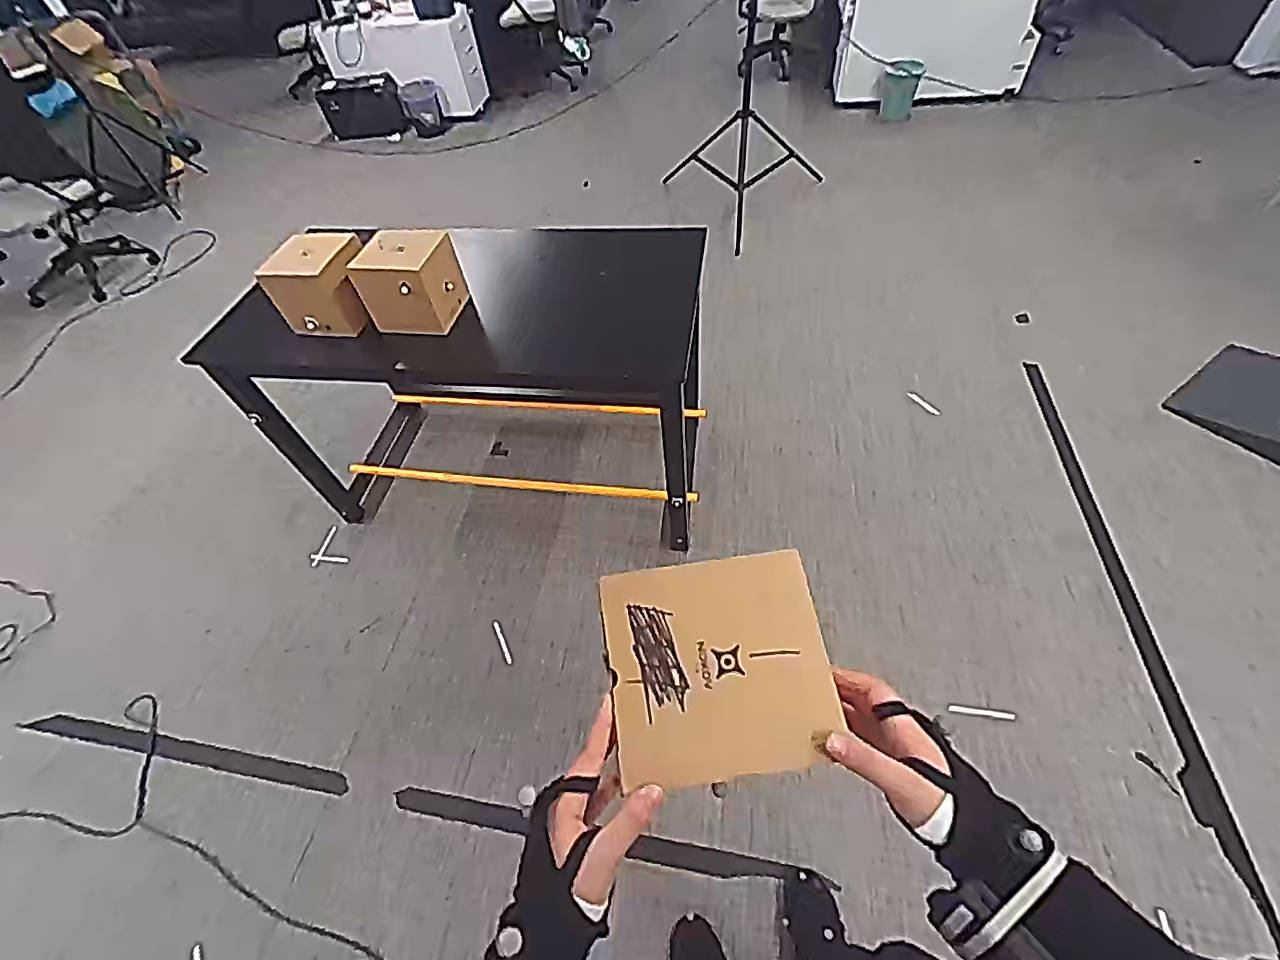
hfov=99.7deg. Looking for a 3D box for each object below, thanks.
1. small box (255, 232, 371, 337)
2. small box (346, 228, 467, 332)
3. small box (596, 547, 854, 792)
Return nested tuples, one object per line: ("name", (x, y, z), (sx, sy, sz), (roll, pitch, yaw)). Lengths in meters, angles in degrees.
("small box", (-0.745, -0.463, 1.280), (0.168, 0.176, 0.179), (3, 54, 10))
("small box", (-0.527, -0.459, 1.252), (0.179, 0.176, 0.168), (5, 53, 10))
("small box", (0.062, 0.174, 0.491), (0.179, 0.176, 0.168), (-8, 65, -2))
